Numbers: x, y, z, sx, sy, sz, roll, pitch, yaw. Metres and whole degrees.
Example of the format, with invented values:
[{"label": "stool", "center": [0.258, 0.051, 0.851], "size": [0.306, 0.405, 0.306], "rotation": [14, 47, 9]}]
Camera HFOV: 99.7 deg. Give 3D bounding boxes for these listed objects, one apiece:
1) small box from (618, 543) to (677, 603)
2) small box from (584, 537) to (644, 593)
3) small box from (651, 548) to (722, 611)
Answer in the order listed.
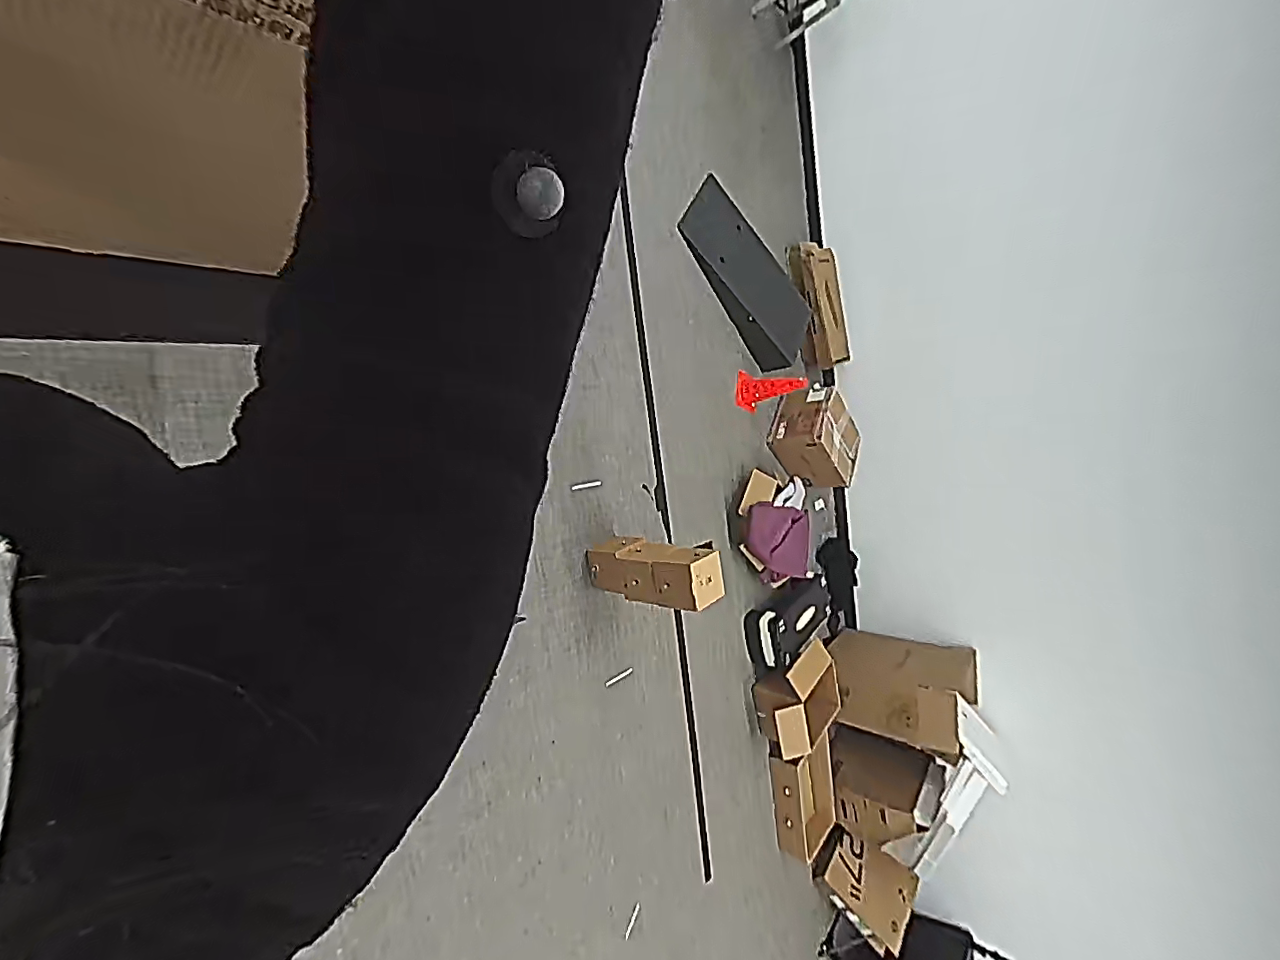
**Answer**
[{"label": "small box", "center": [0.035, 0.337, 1.993], "size": [0.179, 0.176, 0.168], "rotation": [-23, 105, -46]}, {"label": "small box", "center": [-0.089, 0.323, 2.100], "size": [0.179, 0.176, 0.168], "rotation": [-21, 103, -45]}, {"label": "small box", "center": [0.163, 0.339, 1.886], "size": [0.179, 0.176, 0.168], "rotation": [-16, 99, -47]}]
